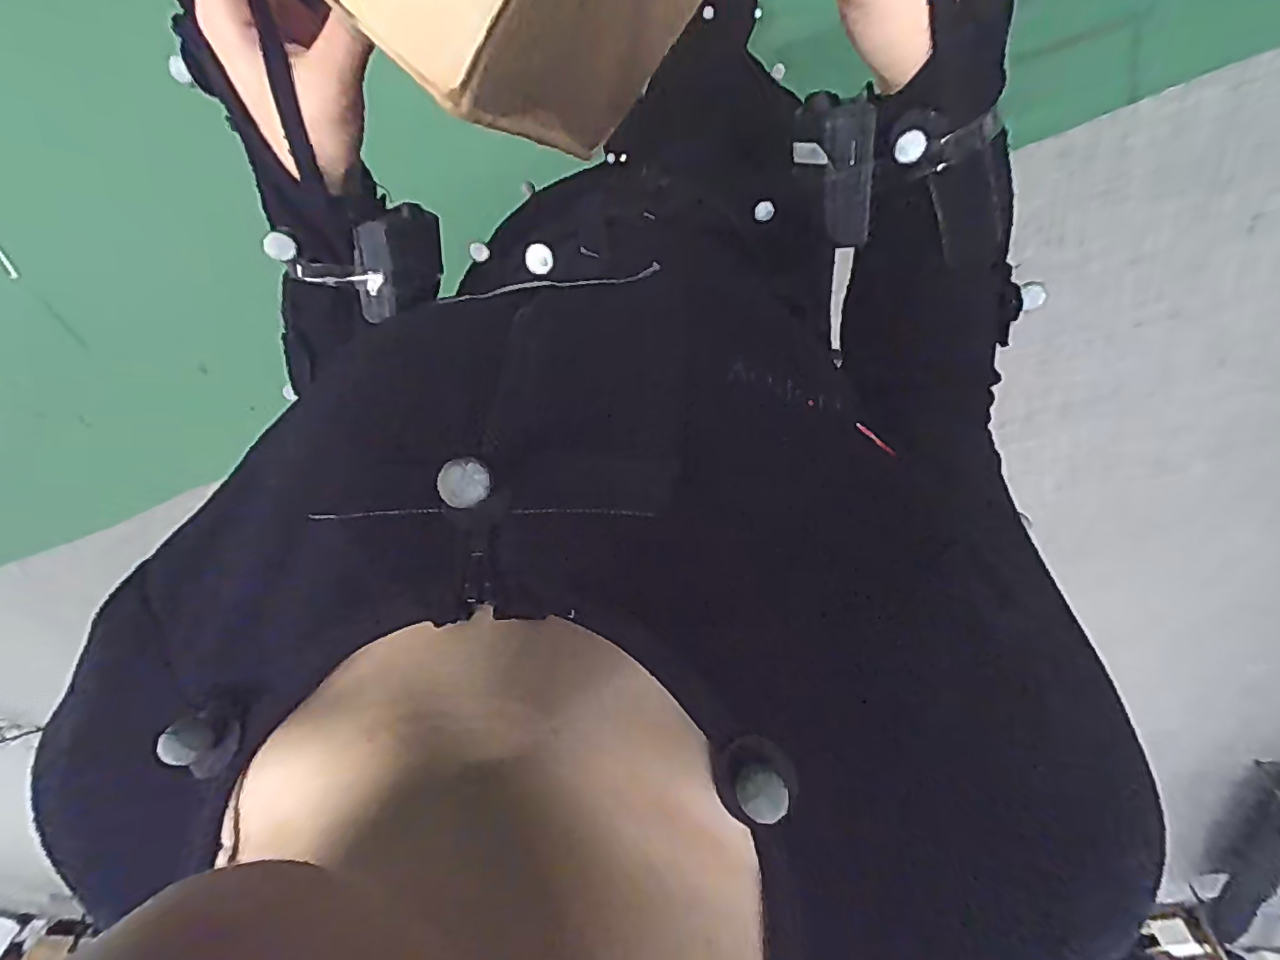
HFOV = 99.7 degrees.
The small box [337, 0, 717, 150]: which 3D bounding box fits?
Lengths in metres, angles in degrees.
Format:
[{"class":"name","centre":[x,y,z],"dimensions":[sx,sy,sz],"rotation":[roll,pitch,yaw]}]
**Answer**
[{"class":"small box","centre":[-0.036,-0.236,0.167],"dimensions":[0.168,0.176,0.179],"rotation":[39,116,-12]}]
